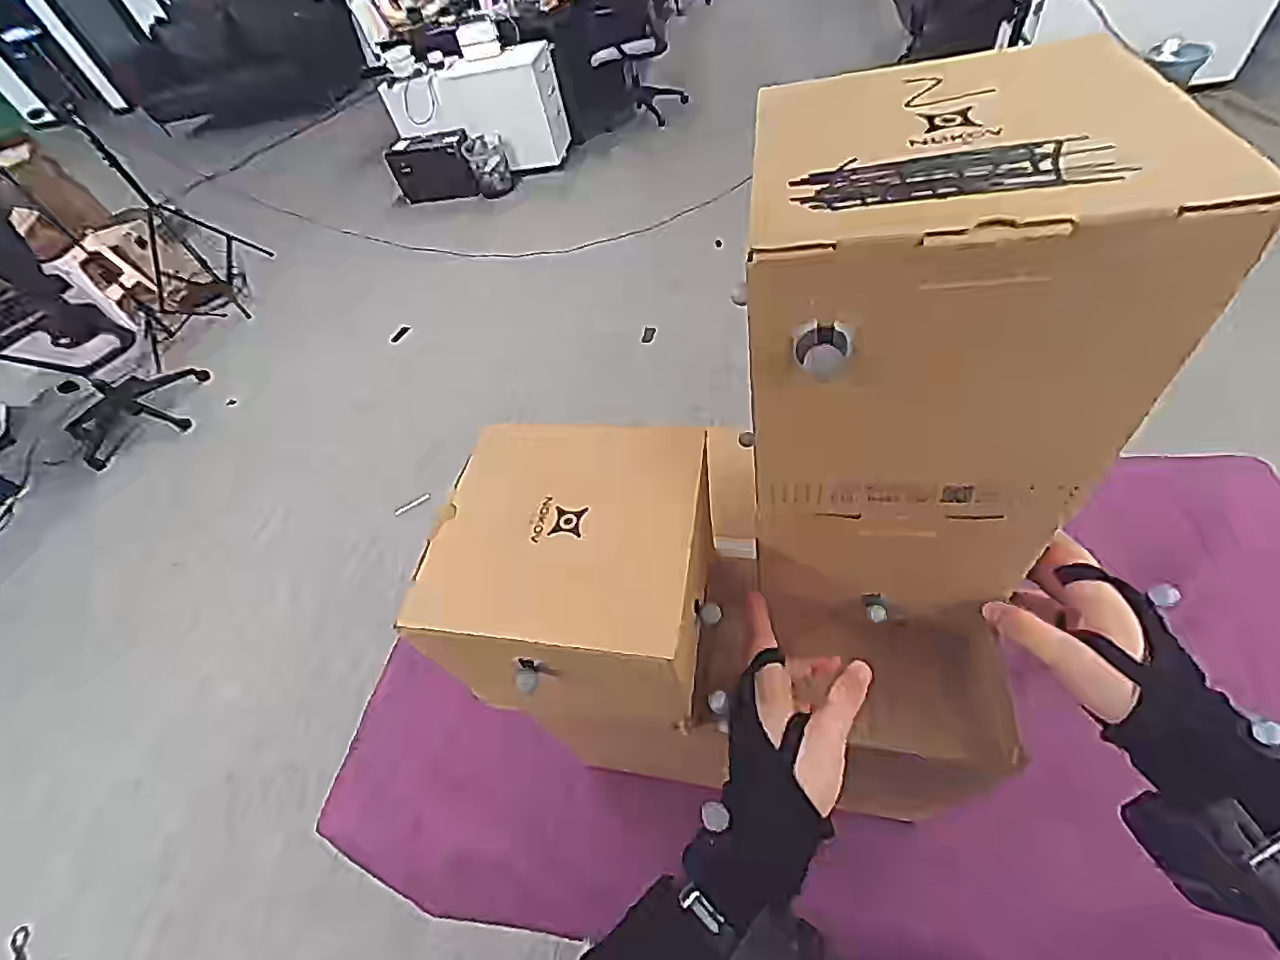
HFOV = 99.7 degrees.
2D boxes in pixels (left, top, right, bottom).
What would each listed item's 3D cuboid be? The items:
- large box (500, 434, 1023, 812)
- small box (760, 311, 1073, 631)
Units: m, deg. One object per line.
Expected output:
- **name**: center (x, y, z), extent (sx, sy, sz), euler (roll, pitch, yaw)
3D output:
- **large box**: center (0.122, 0.161, 0.617), extent (0.408, 0.320, 0.320), euler (1, 51, 14)
- **small box**: center (0.179, -0.005, 0.417), extent (0.168, 0.176, 0.179), euler (0, 52, 14)
